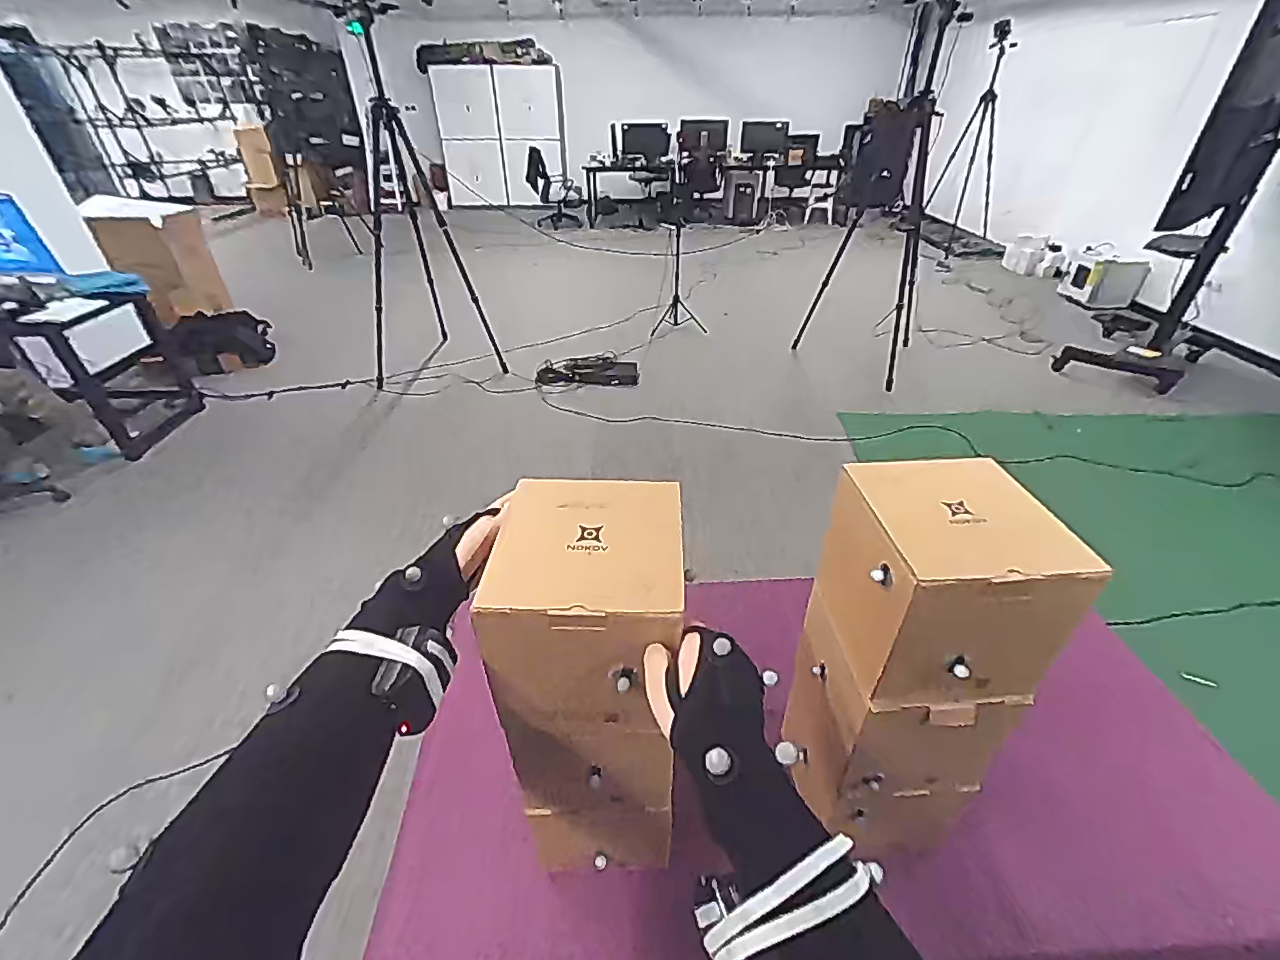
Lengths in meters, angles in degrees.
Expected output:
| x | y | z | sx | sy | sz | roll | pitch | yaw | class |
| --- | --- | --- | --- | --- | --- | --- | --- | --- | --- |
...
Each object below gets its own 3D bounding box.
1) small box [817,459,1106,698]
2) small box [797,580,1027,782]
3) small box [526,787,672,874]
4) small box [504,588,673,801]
| x | y | z | sx | sy | sz | roll | pitch | yaw | class |
| --- | --- | --- | --- | --- | --- | --- | --- | --- | --- |
| 0.297 | 0.095 | 0.553 | 0.168 | 0.176 | 0.179 | -3 | 35 | -3 | small box |
| 0.297 | 0.234 | 0.639 | 0.168 | 0.176 | 0.179 | -2 | 34 | -2 | small box |
| -0.047 | 0.385 | 0.715 | 0.168 | 0.176 | 0.179 | -2 | 35 | -1 | small box |
| -0.049 | 0.248 | 0.624 | 0.168 | 0.176 | 0.179 | -1 | 35 | -2 | small box |
